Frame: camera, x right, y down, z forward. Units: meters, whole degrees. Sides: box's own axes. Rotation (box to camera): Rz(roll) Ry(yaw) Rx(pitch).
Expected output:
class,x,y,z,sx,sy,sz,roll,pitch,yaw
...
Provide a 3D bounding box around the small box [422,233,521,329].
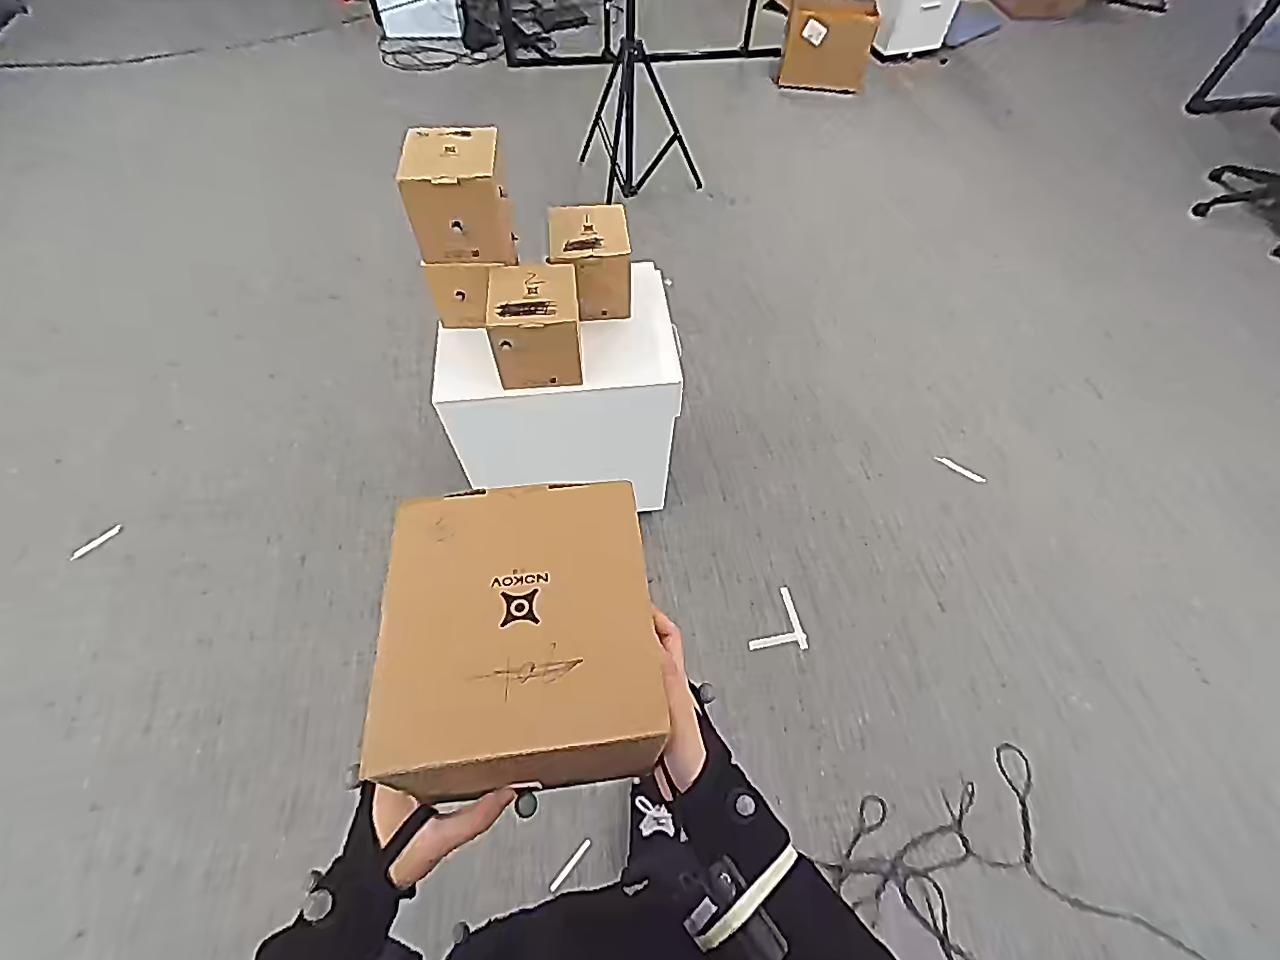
class,x,y,z,sx,sy,sz,roll,pitch,yaw
small box,-0.354,-0.444,1.173,0.168,0.176,0.179,-2,58,-4

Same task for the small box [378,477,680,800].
class,x,y,z,sx,sy,sz,roll,pitch,yaw
small box,-0.073,0.121,0.405,0.168,0.176,0.179,-6,55,-7

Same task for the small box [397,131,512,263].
class,x,y,z,sx,sy,sz,roll,pitch,yaw
small box,-0.343,-0.536,1.038,0.168,0.176,0.179,-3,59,-4
